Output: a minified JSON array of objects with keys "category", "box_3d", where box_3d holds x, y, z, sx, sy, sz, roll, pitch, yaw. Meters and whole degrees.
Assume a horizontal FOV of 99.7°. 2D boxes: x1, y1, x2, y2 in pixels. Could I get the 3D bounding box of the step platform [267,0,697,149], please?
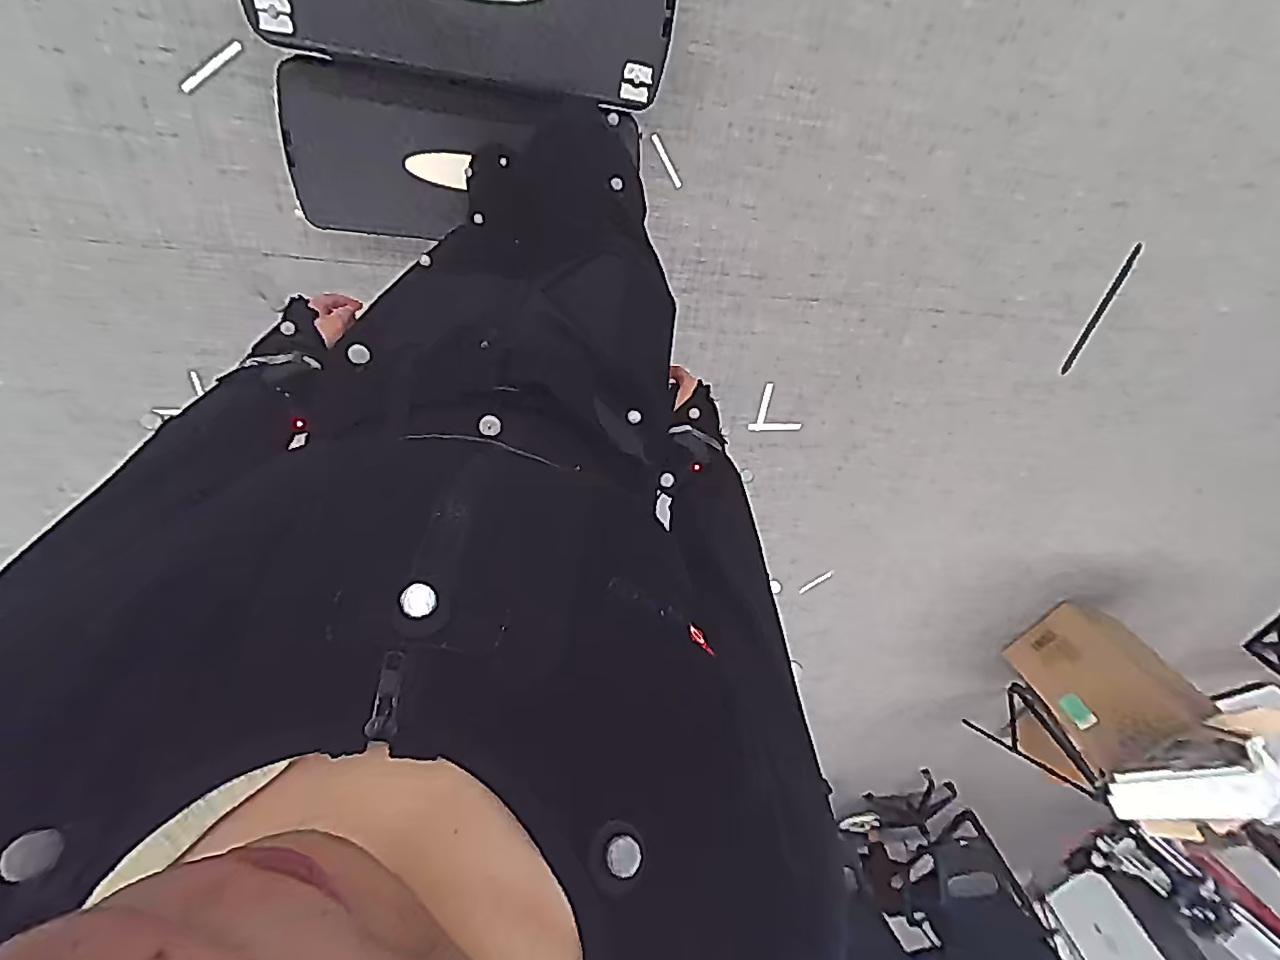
[{"category":"step platform","box_3d":[-0.249,-0.806,0.926,0.684,0.204,0.286,4,123,-16]}]
